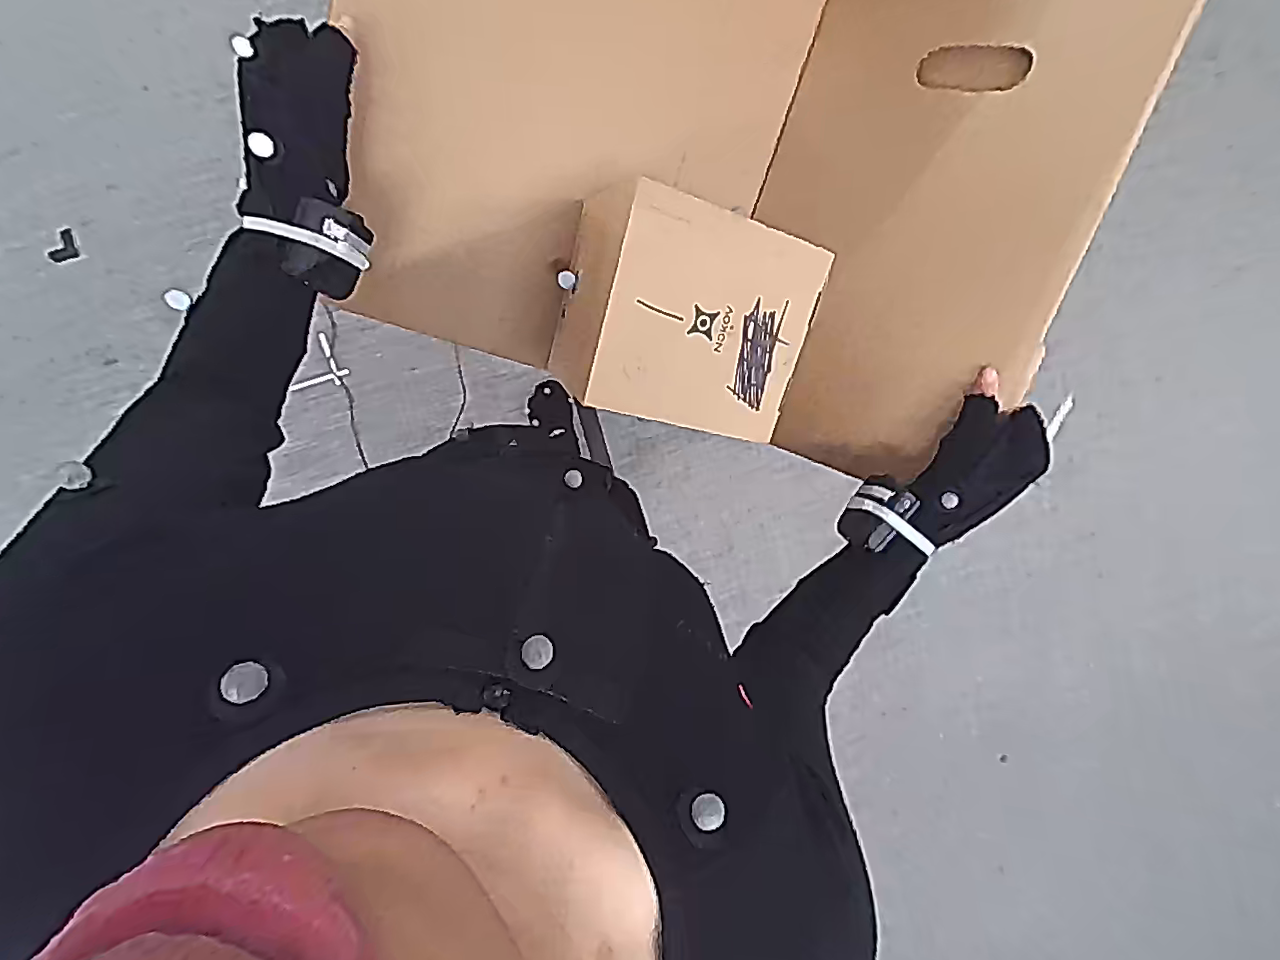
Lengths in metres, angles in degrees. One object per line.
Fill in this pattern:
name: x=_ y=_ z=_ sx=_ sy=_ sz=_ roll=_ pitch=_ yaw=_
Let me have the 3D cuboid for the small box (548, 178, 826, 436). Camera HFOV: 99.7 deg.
small box: x=0.028 y=-0.152 z=0.497 sx=0.179 sy=0.176 sz=0.168 roll=8 pitch=106 yaw=-22
